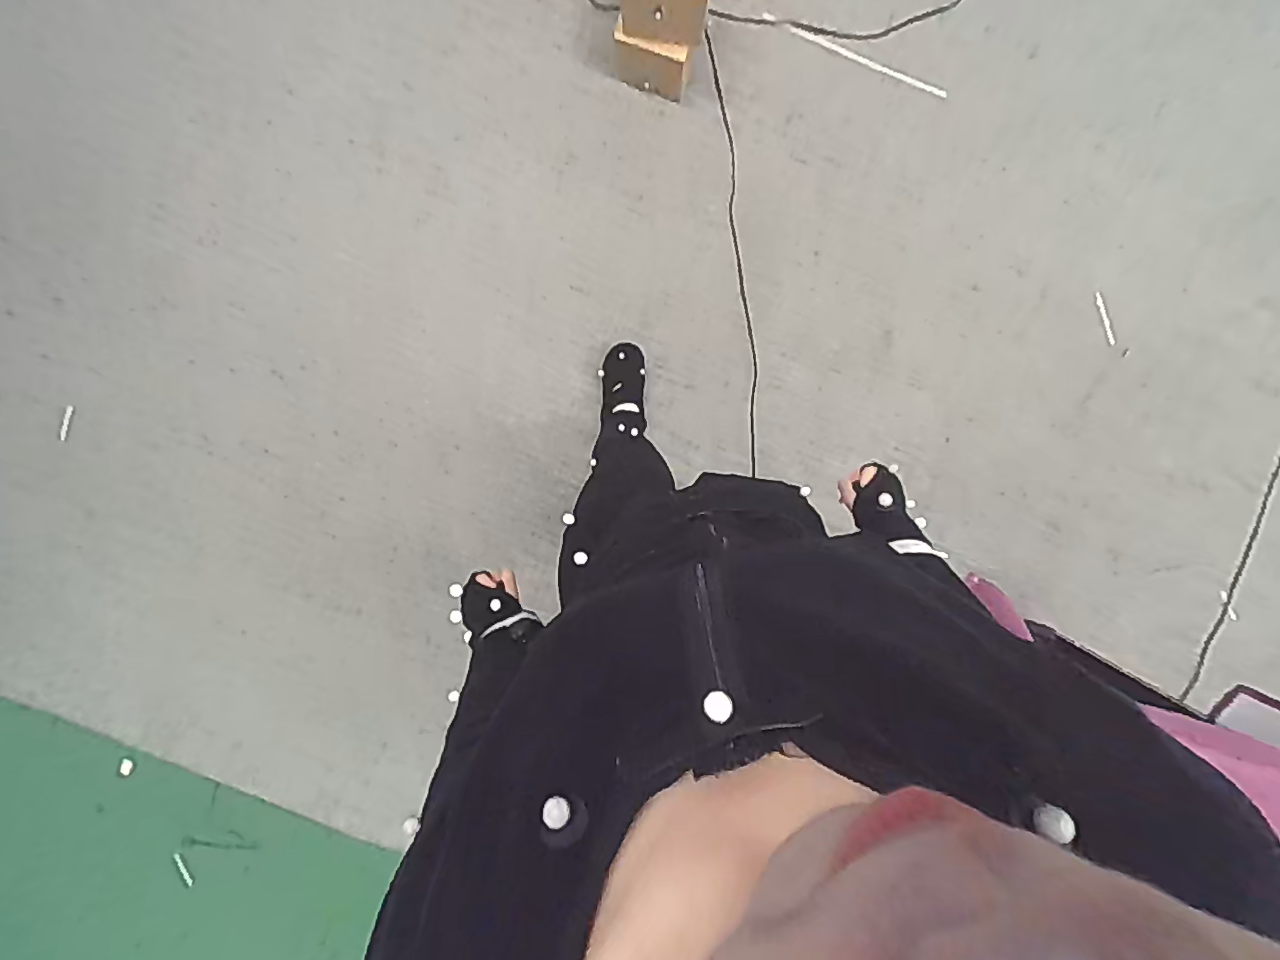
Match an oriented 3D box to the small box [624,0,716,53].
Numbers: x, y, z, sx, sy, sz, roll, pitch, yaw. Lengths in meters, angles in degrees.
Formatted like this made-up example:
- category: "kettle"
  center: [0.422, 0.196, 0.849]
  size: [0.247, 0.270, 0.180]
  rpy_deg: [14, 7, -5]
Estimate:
- category: "small box"
  center: [0.070, -1.007, 1.091]
  size: [0.179, 0.176, 0.168]
  rpy_deg: [10, 98, 2]
